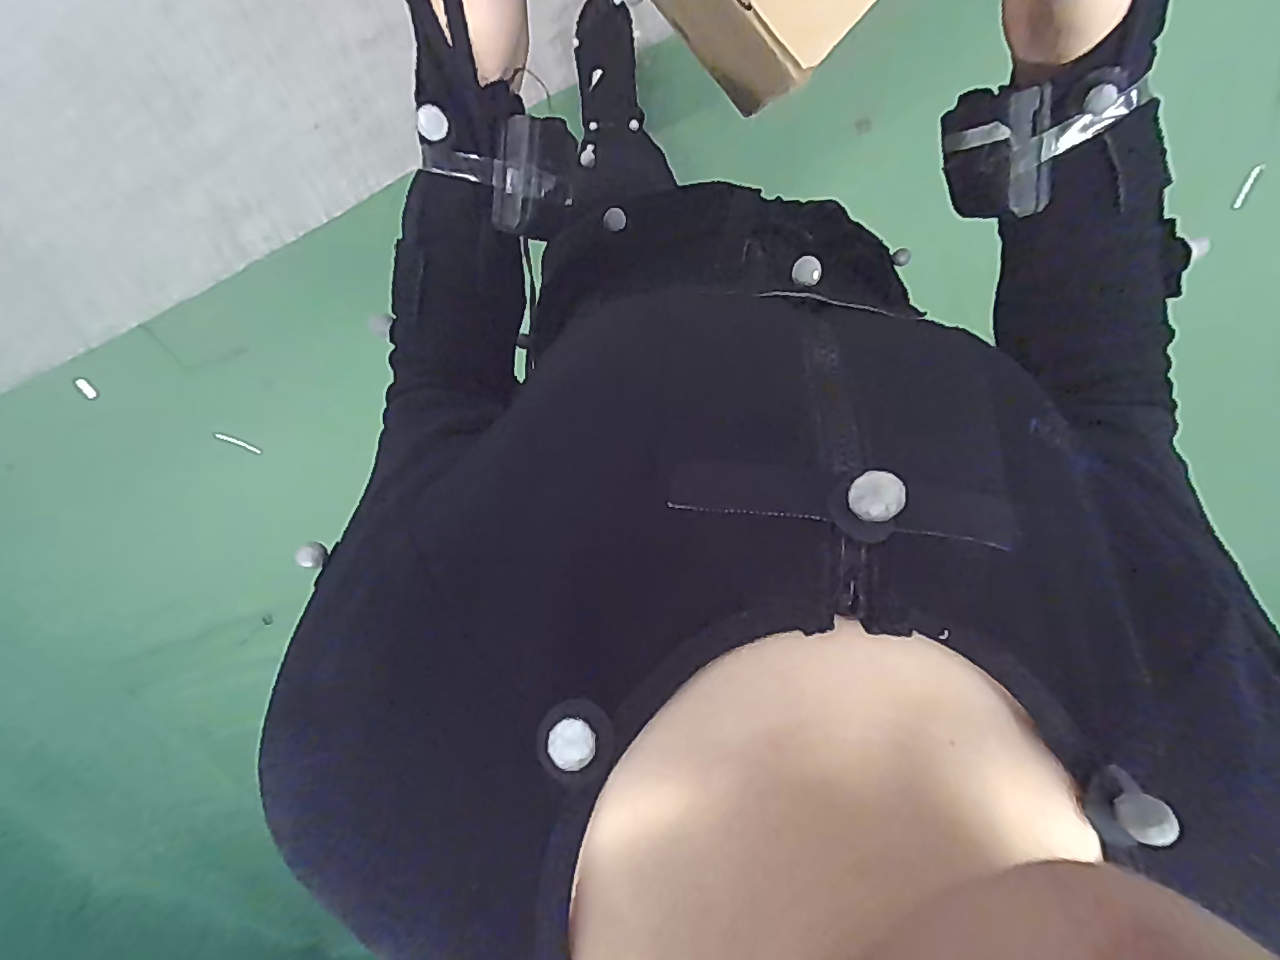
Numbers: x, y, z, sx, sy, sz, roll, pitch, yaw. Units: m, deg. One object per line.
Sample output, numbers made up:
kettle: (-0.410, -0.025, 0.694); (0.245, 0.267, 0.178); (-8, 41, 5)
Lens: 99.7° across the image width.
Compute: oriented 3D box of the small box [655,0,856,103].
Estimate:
small box: (0.060, -0.292, 0.215); (0.168, 0.176, 0.179); (40, 115, -17)
